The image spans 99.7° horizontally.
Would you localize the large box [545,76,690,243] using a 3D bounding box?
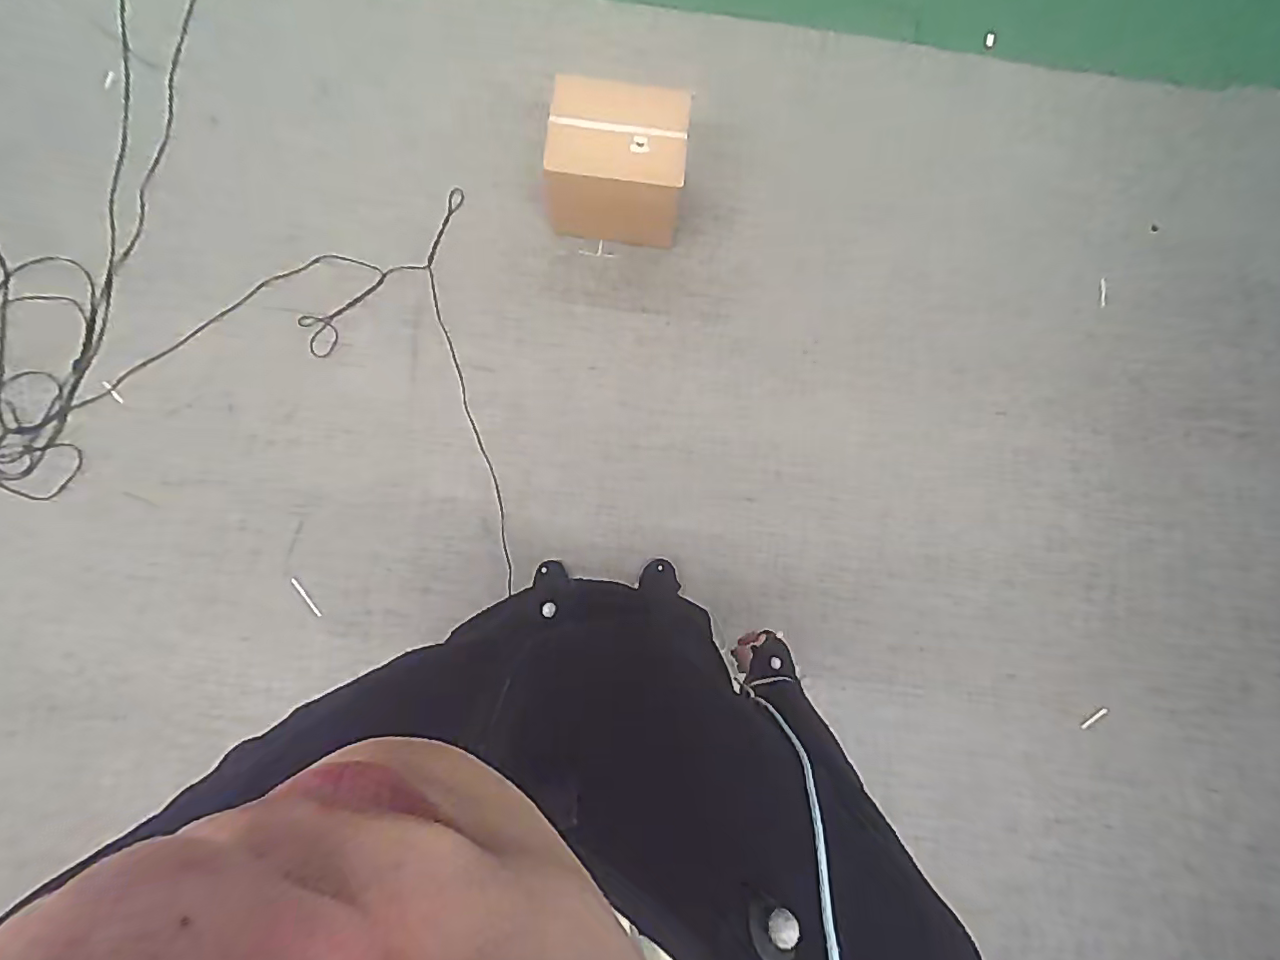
[{"bbox_3d":[-0.071,-0.986,1.701,0.408,0.320,0.320,6,81,-2],"label":"large box"}]
